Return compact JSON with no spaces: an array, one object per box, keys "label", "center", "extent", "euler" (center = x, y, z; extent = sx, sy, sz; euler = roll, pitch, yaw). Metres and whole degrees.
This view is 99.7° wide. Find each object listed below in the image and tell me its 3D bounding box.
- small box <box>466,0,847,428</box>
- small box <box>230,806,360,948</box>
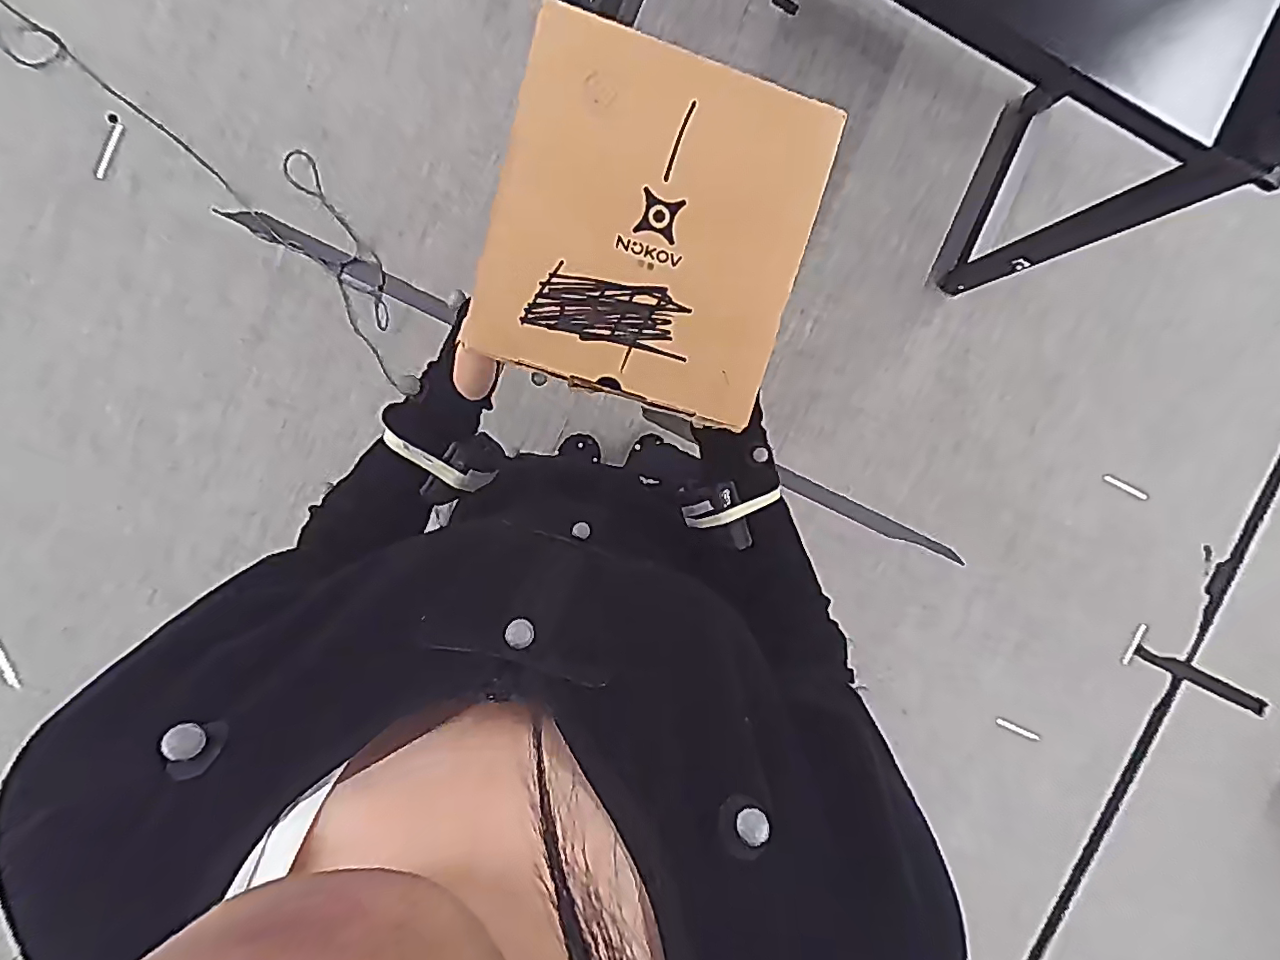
[{"label":"small box","center":[0.002,-0.147,0.364],"extent":[0.168,0.176,0.179],"euler":[16,99,-8]},{"label":"small box","center":[-0.788,0.913,1.258],"extent":[0.168,0.176,0.179],"euler":[27,91,-7]}]
